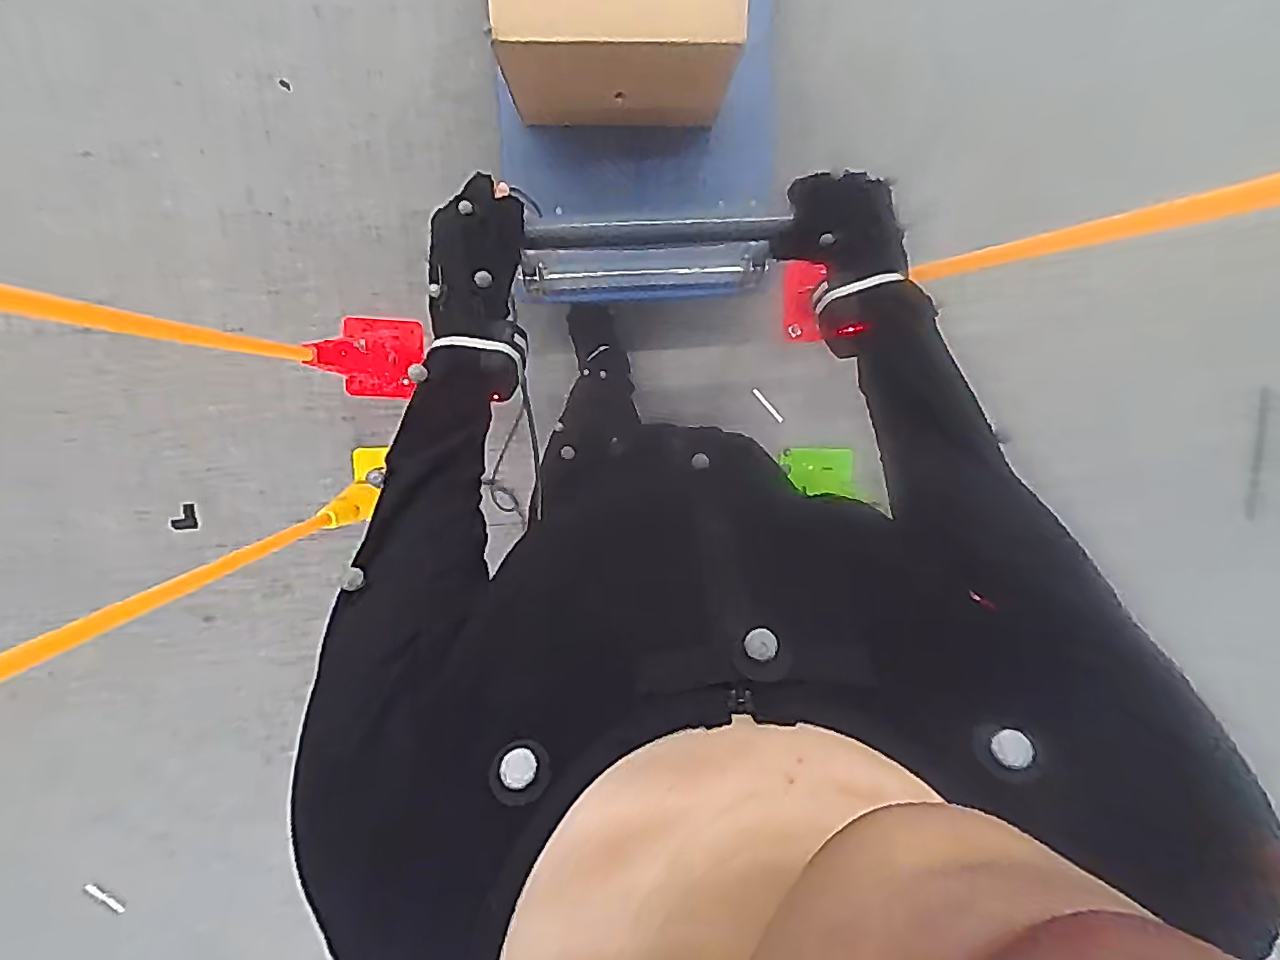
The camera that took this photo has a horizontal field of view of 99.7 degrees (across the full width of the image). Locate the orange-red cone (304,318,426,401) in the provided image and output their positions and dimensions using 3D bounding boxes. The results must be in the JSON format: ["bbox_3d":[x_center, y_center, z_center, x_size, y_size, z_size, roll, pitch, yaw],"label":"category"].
[{"bbox_3d":[-0.639,-0.278,1.213,0.198,0.360,0.199,4,99,-4],"label":"orange-red cone"}]

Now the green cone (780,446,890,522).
[{"bbox_3d":[0.492,0.040,1.308,0.202,0.368,0.200,0,101,-3],"label":"green cone"}]

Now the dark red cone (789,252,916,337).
[{"bbox_3d":[0.484,-0.433,1.199,0.201,0.394,0.202,-4,101,-3],"label":"dark red cone"}]

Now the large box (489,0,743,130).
[{"bbox_3d":[-0.041,-0.861,0.972,0.408,0.320,0.320,-1,102,-1],"label":"large box"}]
